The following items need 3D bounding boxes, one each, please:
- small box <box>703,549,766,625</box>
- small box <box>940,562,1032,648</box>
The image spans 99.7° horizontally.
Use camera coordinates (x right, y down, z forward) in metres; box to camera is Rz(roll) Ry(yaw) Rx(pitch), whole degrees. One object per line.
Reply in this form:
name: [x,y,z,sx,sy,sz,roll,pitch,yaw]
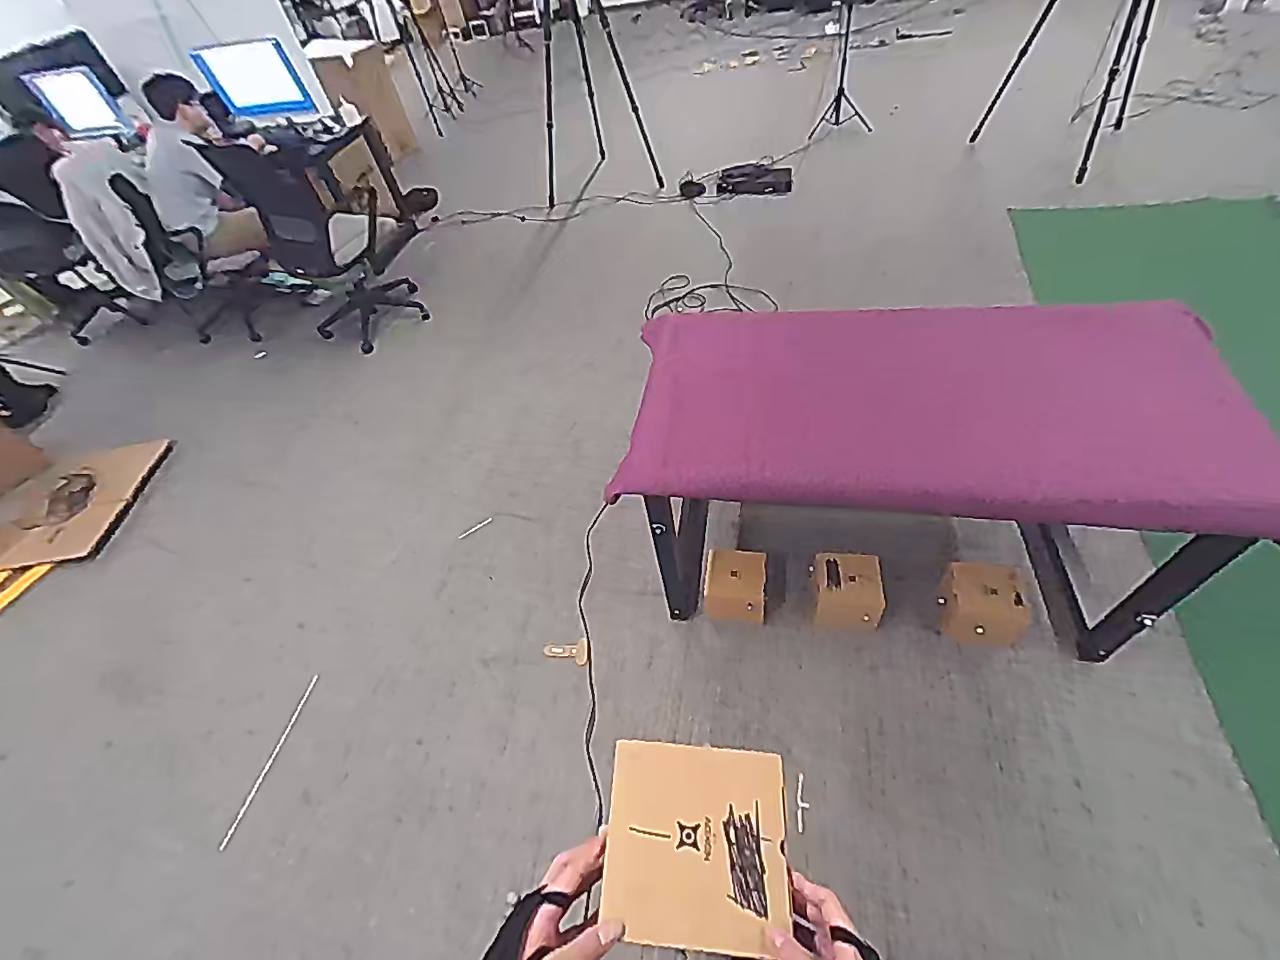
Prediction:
small box: [0.294,0.330,1.663,0.179,0.176,0.168,3,51,13]
small box: [0.954,0.352,1.511,0.179,0.176,0.168,5,52,16]
